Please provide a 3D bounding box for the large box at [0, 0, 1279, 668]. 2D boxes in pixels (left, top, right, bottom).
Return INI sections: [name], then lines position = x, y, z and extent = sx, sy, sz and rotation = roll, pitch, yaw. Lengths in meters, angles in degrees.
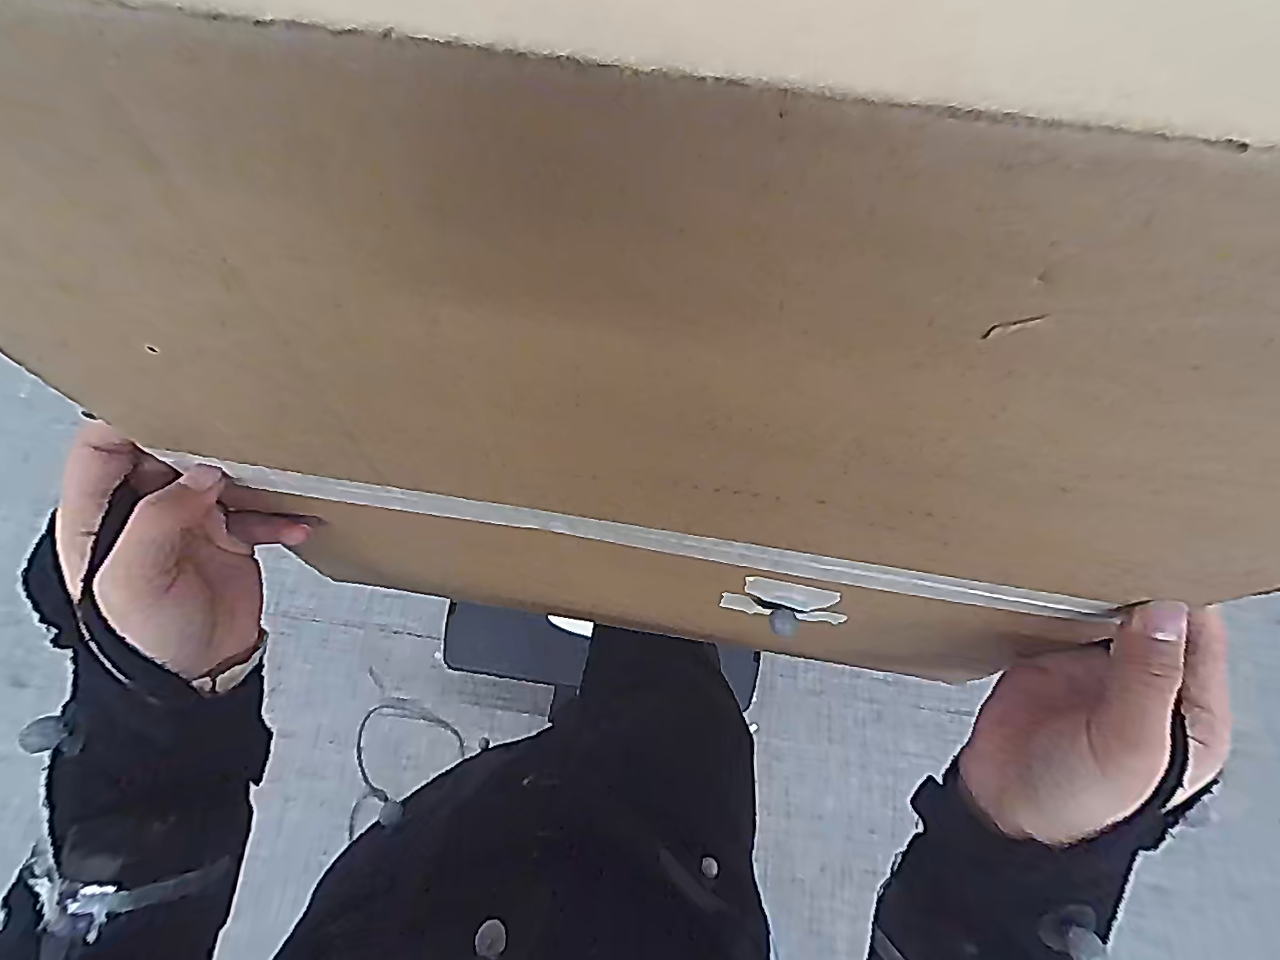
[large box]
position = 0.023, -0.111, 0.298
extent = 0.408, 0.320, 0.320
rotation = 8, 61, 2
